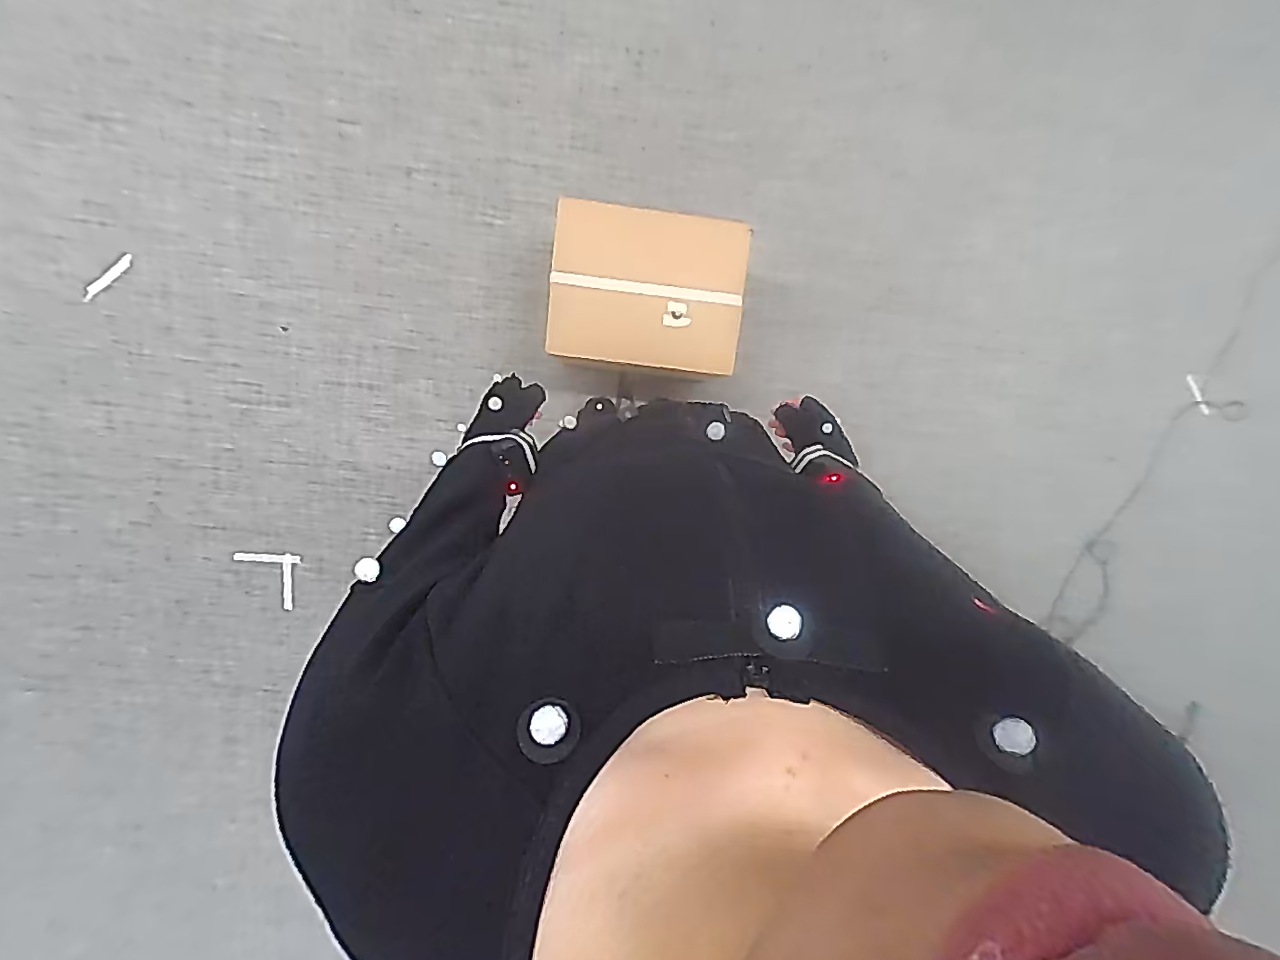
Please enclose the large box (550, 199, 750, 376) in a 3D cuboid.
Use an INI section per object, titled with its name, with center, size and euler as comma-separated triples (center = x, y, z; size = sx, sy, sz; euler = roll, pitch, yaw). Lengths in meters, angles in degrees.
[large box]
center = 0.008, -0.426, 1.276
size = 0.408, 0.320, 0.320
euler = 6, 99, -5
